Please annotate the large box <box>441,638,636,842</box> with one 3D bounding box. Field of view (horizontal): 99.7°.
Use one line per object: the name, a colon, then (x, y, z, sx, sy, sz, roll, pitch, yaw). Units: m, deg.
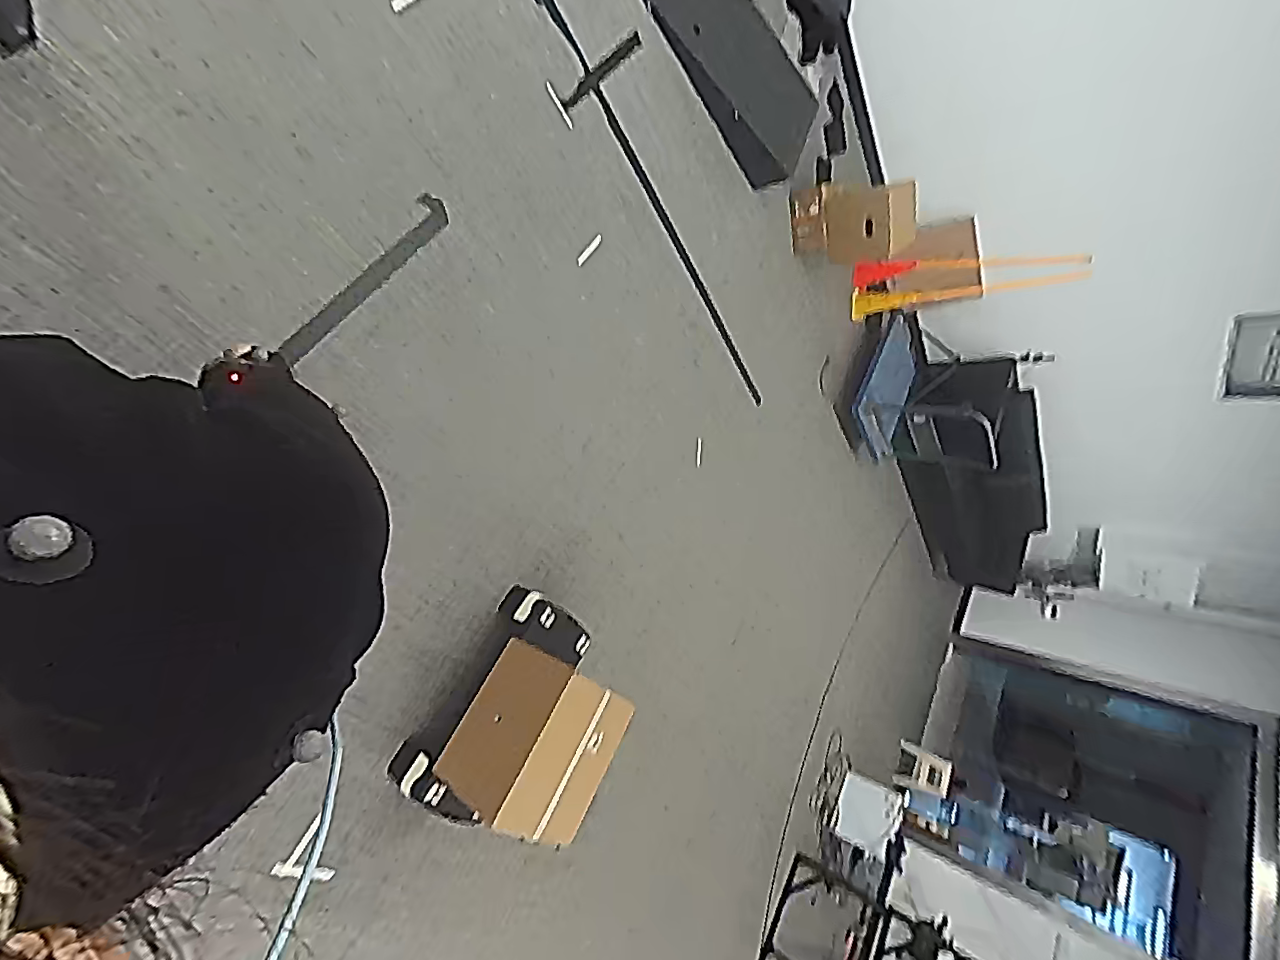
large box: (-0.283, 0.728, 1.546, 0.320, 0.320, 0.408, 48, 61, -40)
